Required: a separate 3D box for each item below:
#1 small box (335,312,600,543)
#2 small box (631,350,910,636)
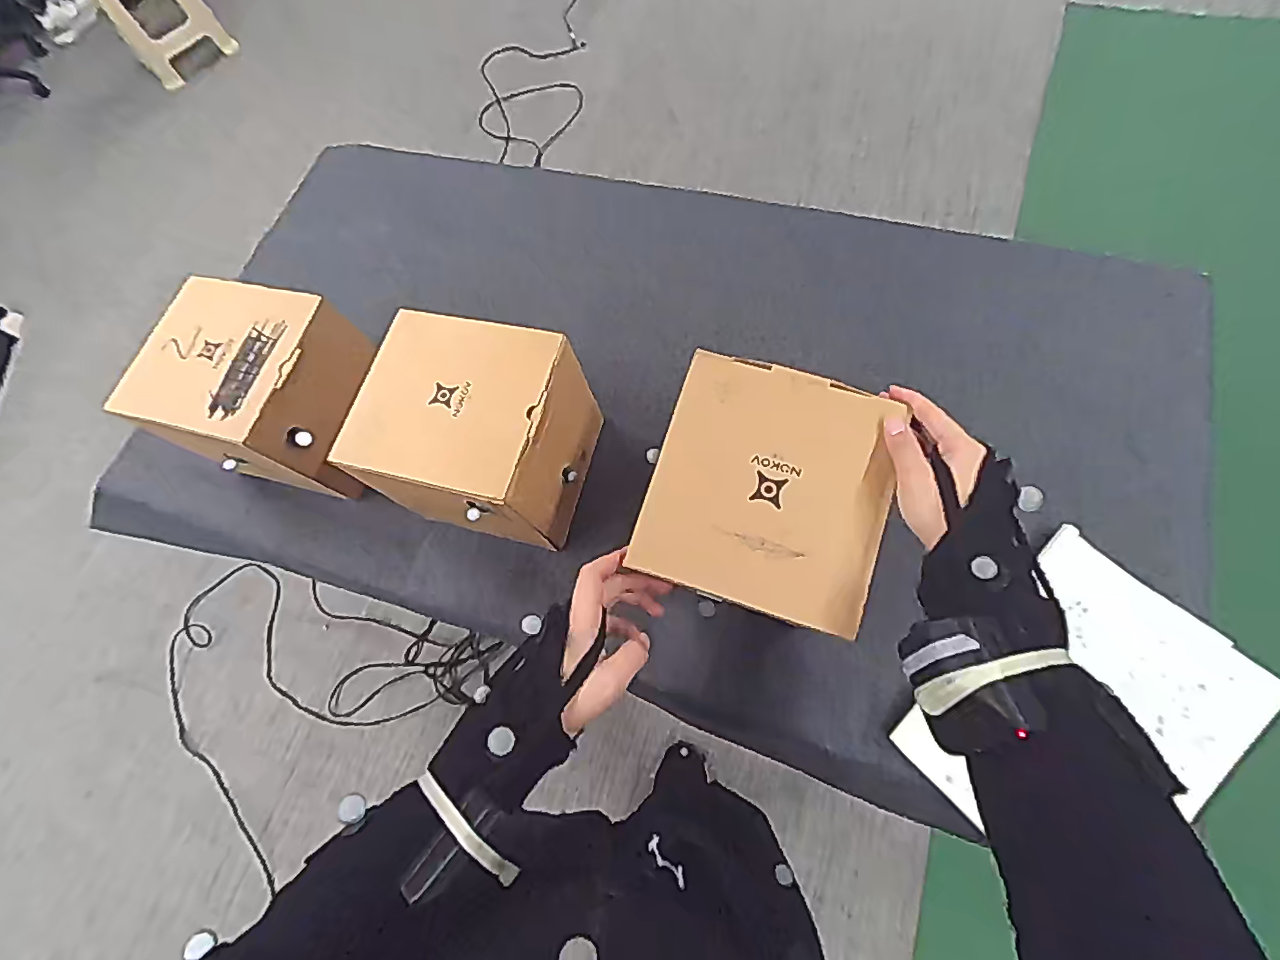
[{"bbox_3d":[-0.157,-0.045,0.557,0.179,0.176,0.168,12,71,11],"label":"small box"},{"bbox_3d":[0.102,0.019,0.468,0.168,0.176,0.179,17,80,10],"label":"small box"}]
